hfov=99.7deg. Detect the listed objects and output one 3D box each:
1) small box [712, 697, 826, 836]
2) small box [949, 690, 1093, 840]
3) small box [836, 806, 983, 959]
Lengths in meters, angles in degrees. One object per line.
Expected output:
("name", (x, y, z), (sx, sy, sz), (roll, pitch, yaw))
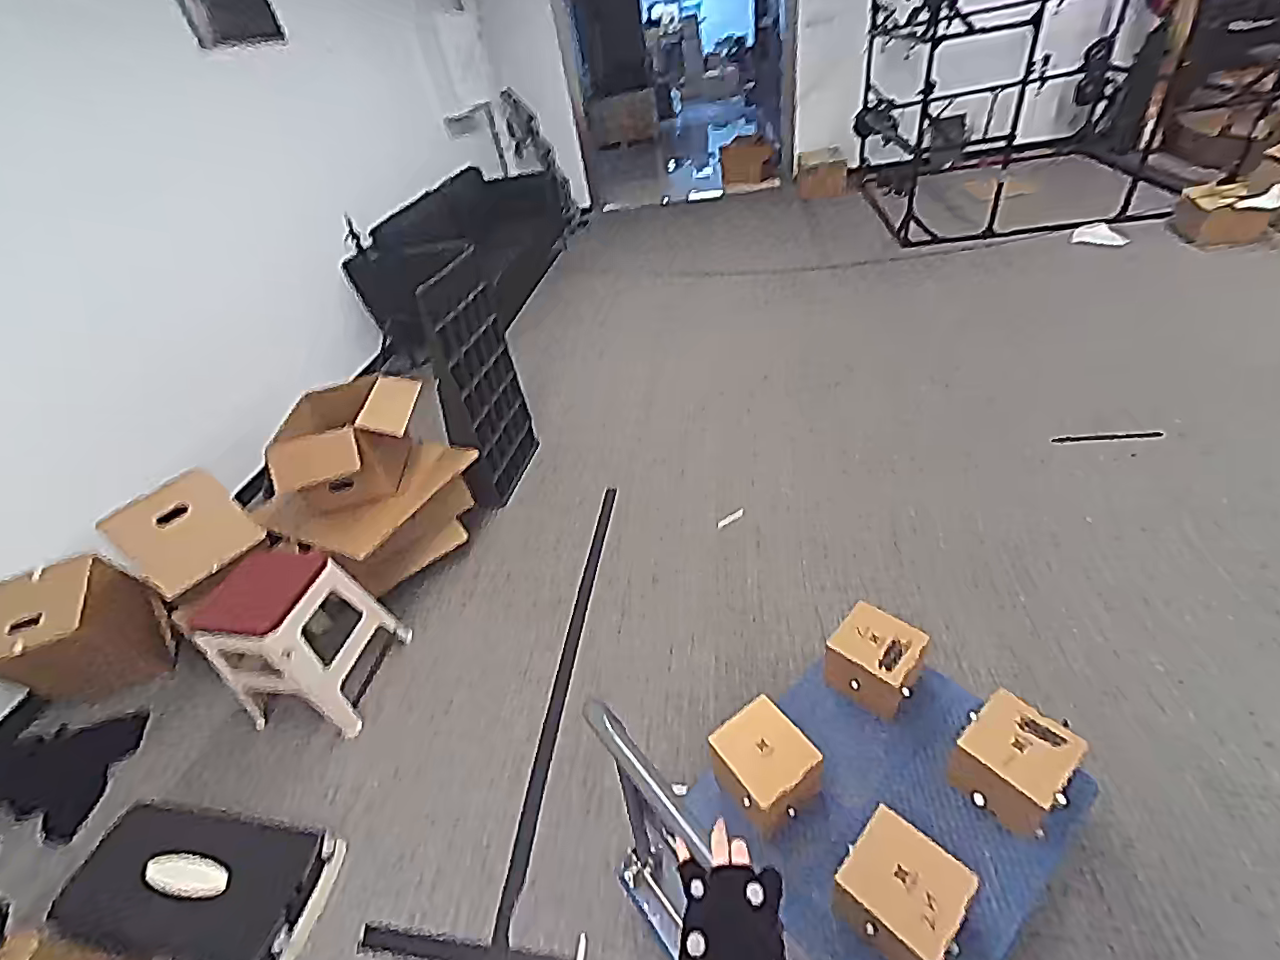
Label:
("small box", (0.274, 0.619, 1.169), (0.168, 0.176, 0.179), (-29, 43, -21))
("small box", (0.759, 0.575, 1.095), (0.179, 0.176, 0.168), (-33, 43, -23))
("small box", (0.468, 0.741, 0.964), (0.168, 0.176, 0.179), (-36, 44, -27))
